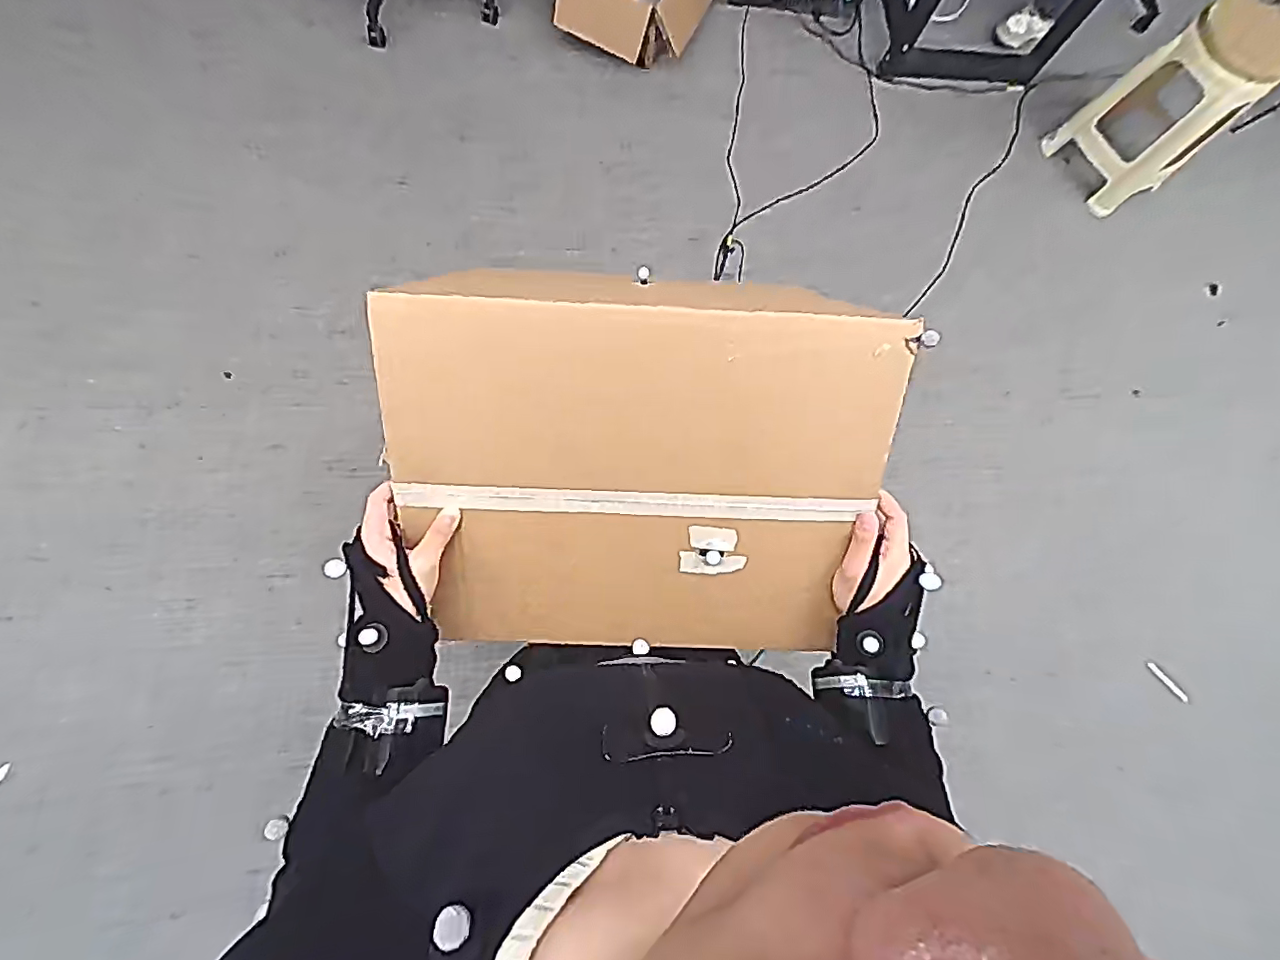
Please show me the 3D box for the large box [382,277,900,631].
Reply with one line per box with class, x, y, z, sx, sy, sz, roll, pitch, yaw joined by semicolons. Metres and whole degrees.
large box;-0.007;-0.054;0.605;0.408;0.320;0.320;1;115;-3
